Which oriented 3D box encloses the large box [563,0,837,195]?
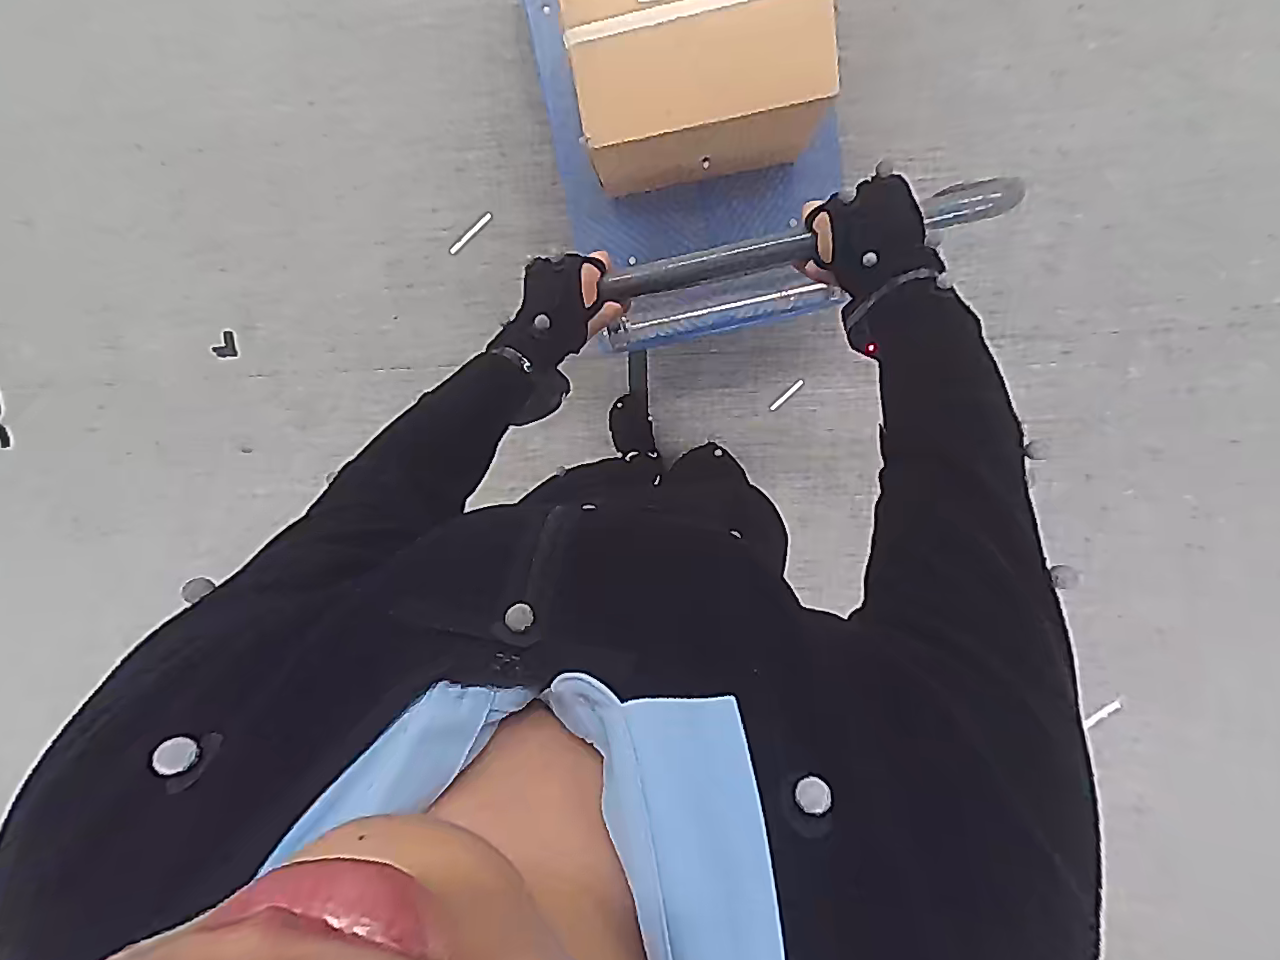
[{"bbox_3d":[0.098,-0.758,0.977,0.408,0.320,0.320,-9,102,6],"label":"large box"}]
